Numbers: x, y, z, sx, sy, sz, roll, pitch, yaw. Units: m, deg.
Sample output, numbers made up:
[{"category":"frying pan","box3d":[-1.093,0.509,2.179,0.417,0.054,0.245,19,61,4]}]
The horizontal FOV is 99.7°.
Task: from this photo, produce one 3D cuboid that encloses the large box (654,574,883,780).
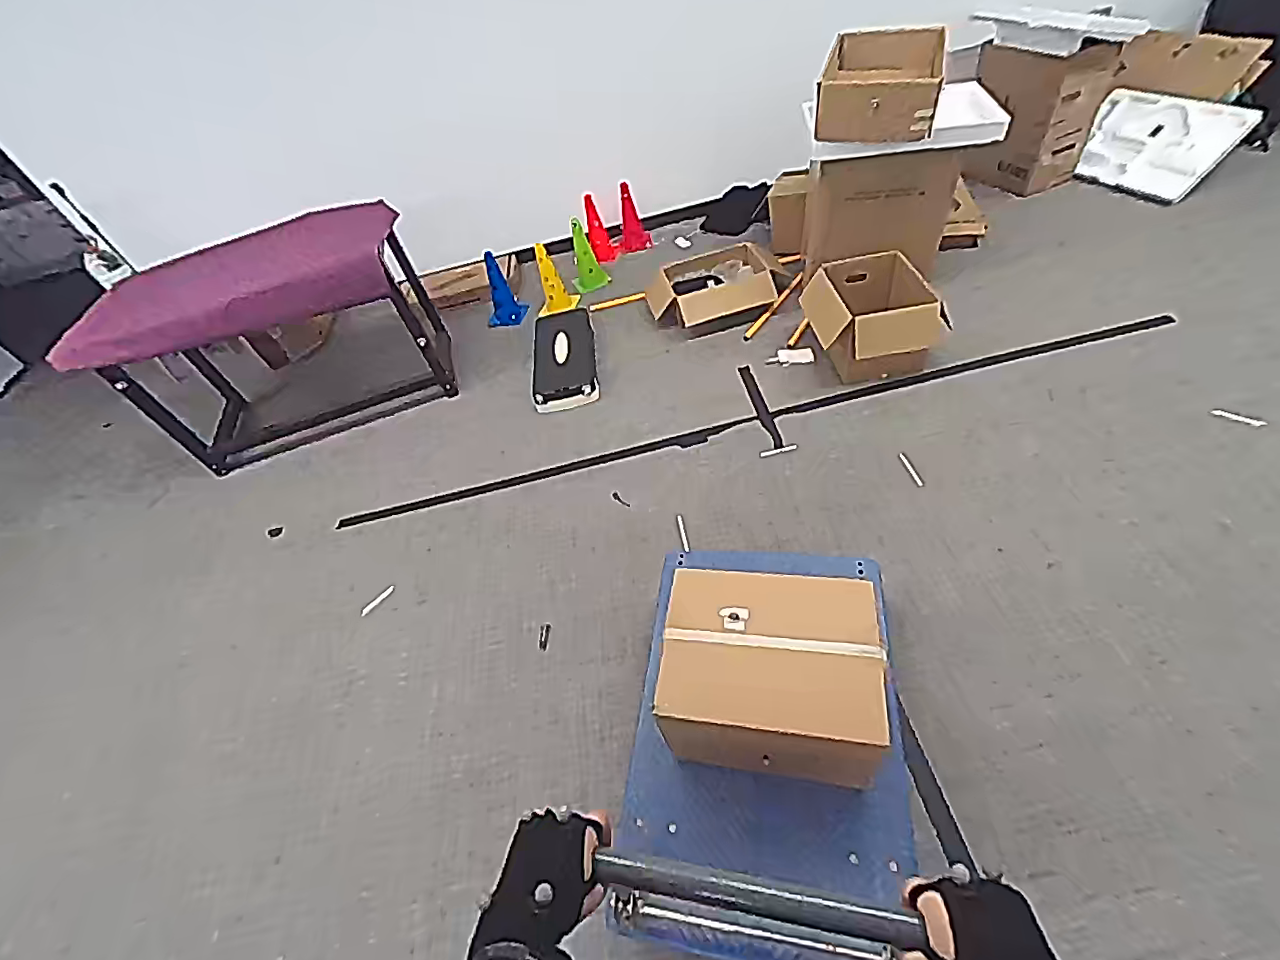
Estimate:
[{"category":"large box","box3d":[0.272,0.418,1.157,0.408,0.320,0.320,0,48,16]}]
